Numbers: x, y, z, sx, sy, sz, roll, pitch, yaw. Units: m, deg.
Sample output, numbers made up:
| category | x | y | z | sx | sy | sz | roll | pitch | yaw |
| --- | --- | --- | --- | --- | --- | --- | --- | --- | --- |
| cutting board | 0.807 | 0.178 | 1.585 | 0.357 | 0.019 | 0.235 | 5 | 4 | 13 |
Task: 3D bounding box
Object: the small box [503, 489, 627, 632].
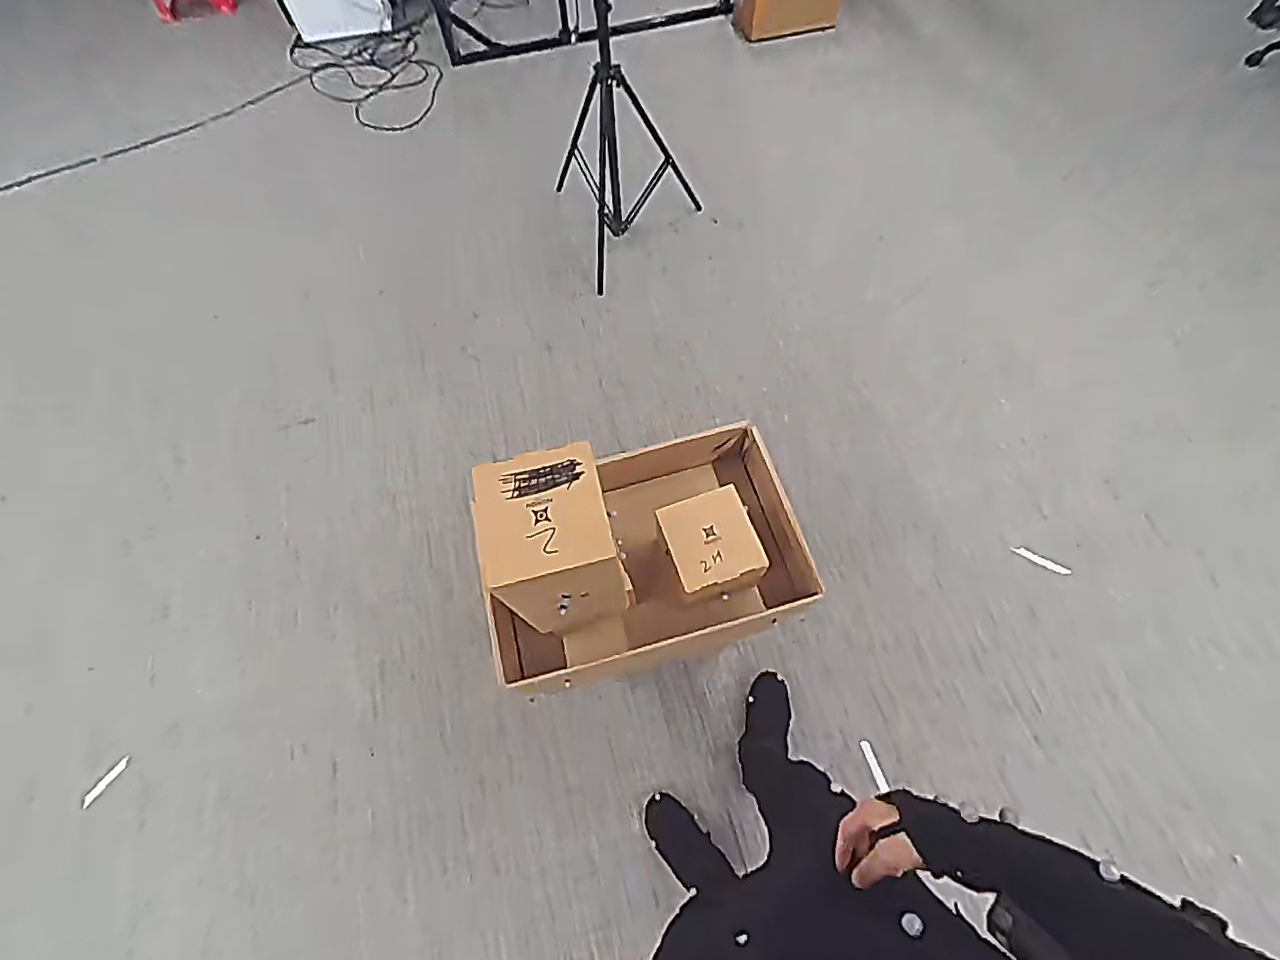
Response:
| category | x | y | z | sx | sy | sz | roll | pitch | yaw |
| --- | --- | --- | --- | --- | --- | --- | --- | --- | --- |
| small box | -0.124 | 0.142 | 0.927 | 0.168 | 0.176 | 0.179 | -15 | 64 | -4 |
